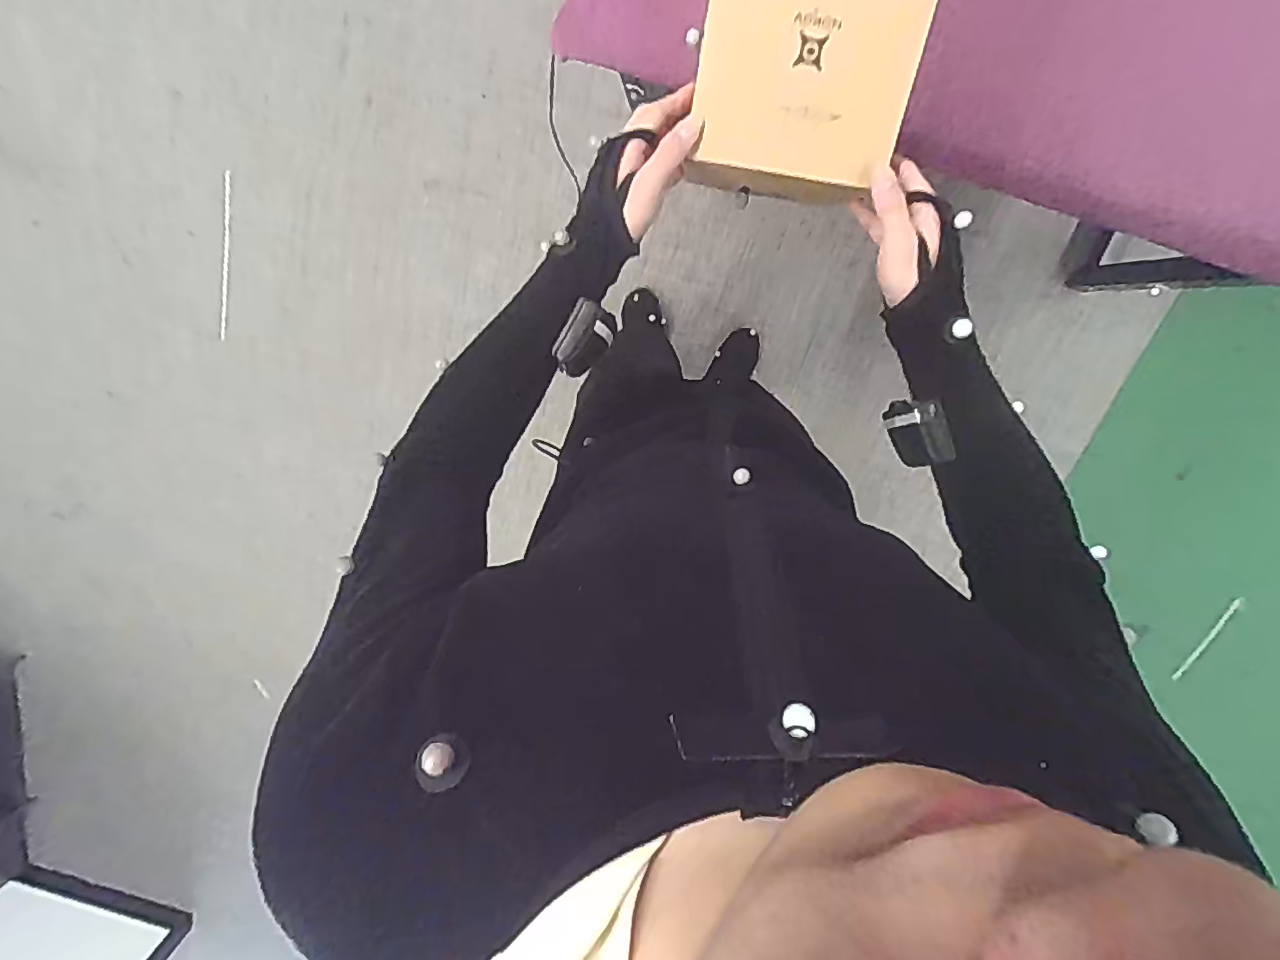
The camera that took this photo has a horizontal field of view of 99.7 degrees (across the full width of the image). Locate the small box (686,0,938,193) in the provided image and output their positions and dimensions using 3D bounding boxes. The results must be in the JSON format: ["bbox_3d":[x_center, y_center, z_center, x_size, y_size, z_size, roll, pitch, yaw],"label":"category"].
[{"bbox_3d":[0.136,-0.369,0.474,0.168,0.176,0.179,11,113,0],"label":"small box"}]

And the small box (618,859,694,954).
[{"bbox_3d":[0.051,1.242,1.549,0.168,0.176,0.179,20,109,-2],"label":"small box"}]

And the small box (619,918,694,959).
[{"bbox_3d":[0.038,1.293,1.395,0.168,0.176,0.179,22,109,-3],"label":"small box"}]
